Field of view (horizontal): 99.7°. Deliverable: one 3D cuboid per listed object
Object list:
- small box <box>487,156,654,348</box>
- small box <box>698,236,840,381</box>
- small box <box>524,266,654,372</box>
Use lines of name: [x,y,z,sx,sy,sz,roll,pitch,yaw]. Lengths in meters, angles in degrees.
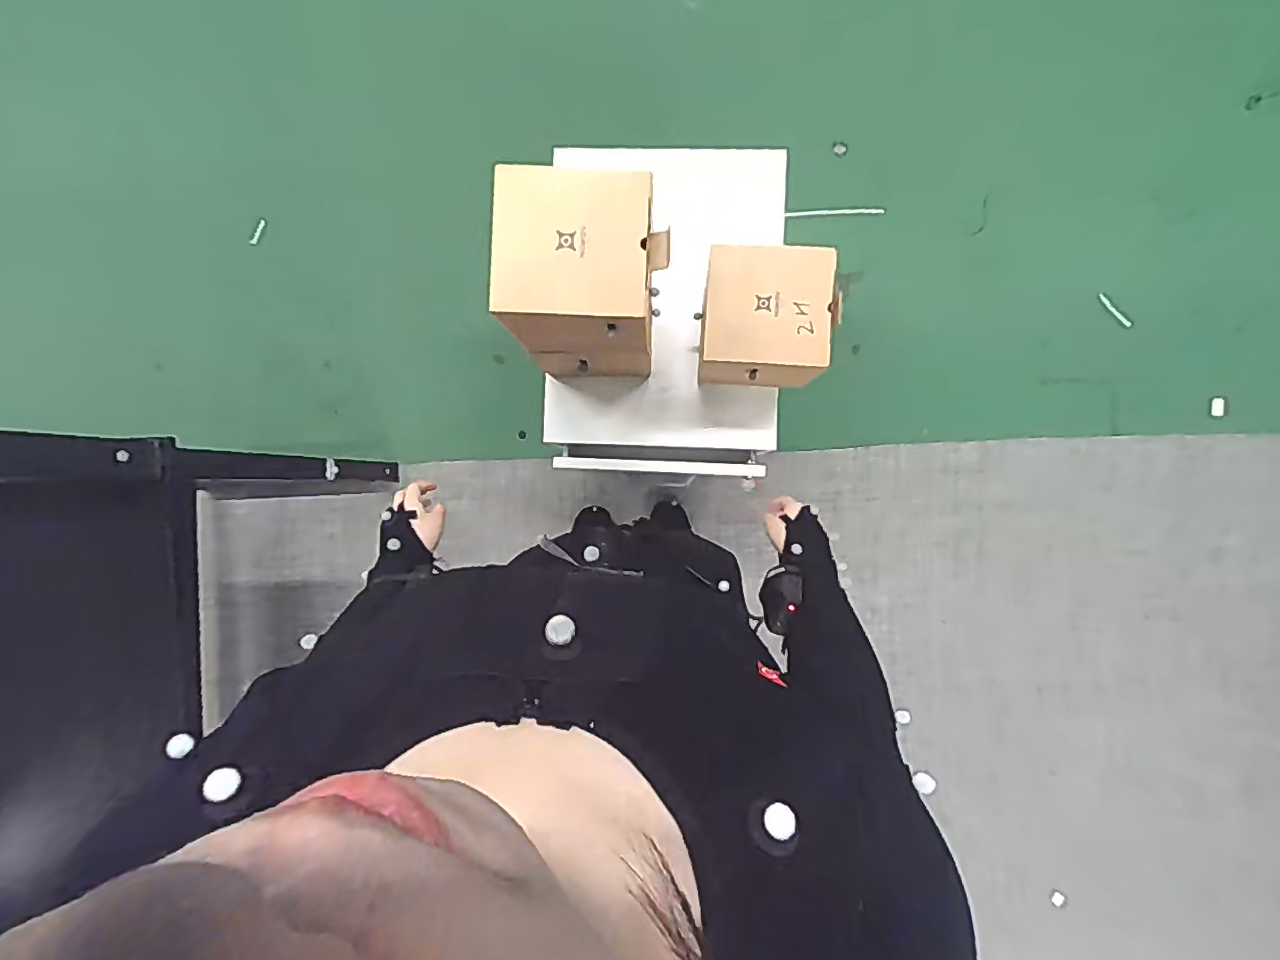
small box: [-0.073,-0.263,0.659,0.179,0.176,0.168,2,90,0]
small box: [0.181,-0.246,0.810,0.179,0.176,0.168,4,91,3]
small box: [-0.069,-0.262,0.822,0.179,0.176,0.168,1,90,2]
